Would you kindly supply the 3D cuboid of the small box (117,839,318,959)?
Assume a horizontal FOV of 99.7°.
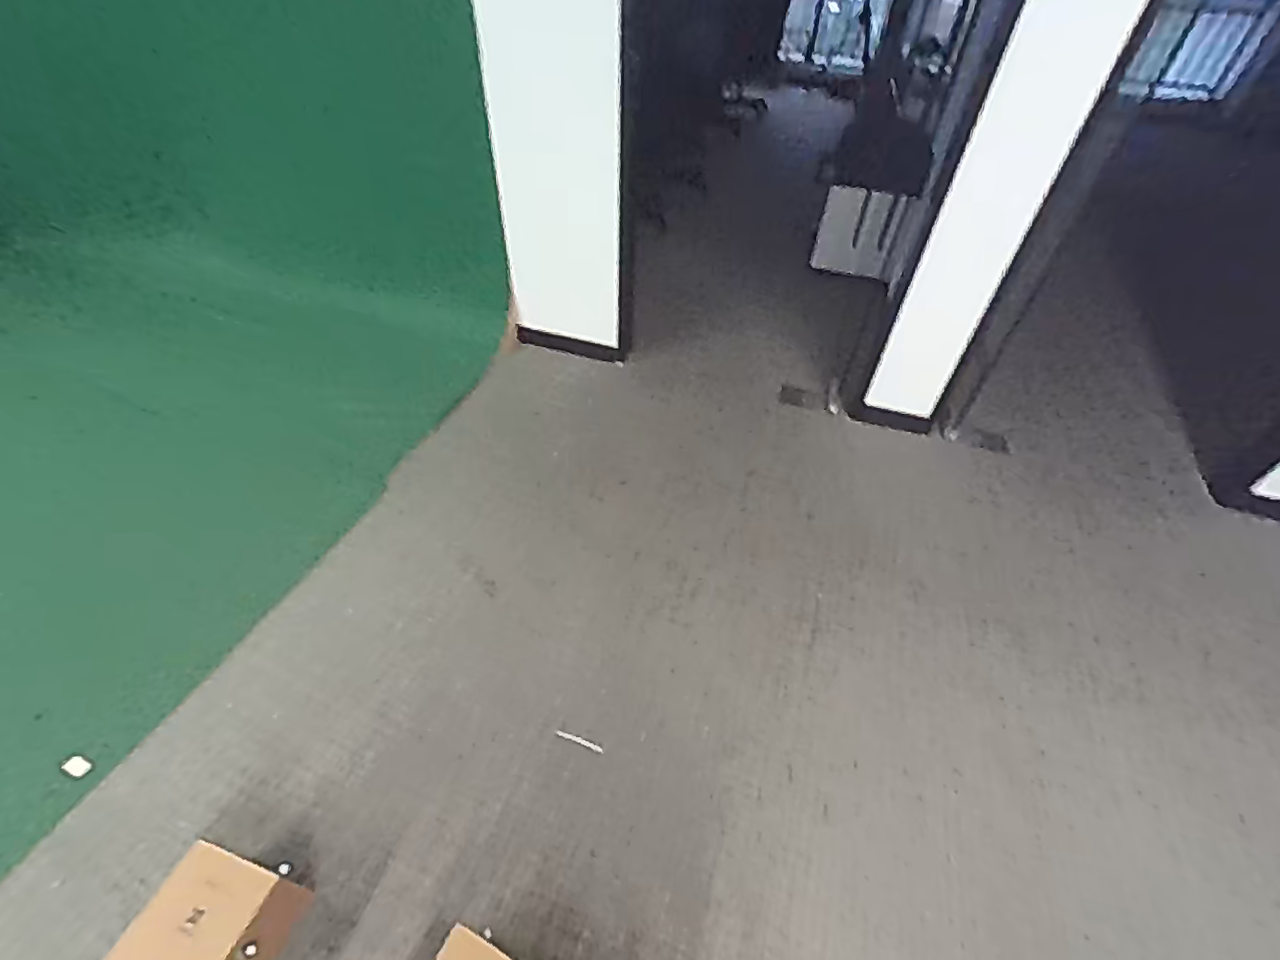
[{"bbox_3d":[-0.685,0.745,0.902,0.168,0.176,0.179,15,46,11],"label":"small box"}]
